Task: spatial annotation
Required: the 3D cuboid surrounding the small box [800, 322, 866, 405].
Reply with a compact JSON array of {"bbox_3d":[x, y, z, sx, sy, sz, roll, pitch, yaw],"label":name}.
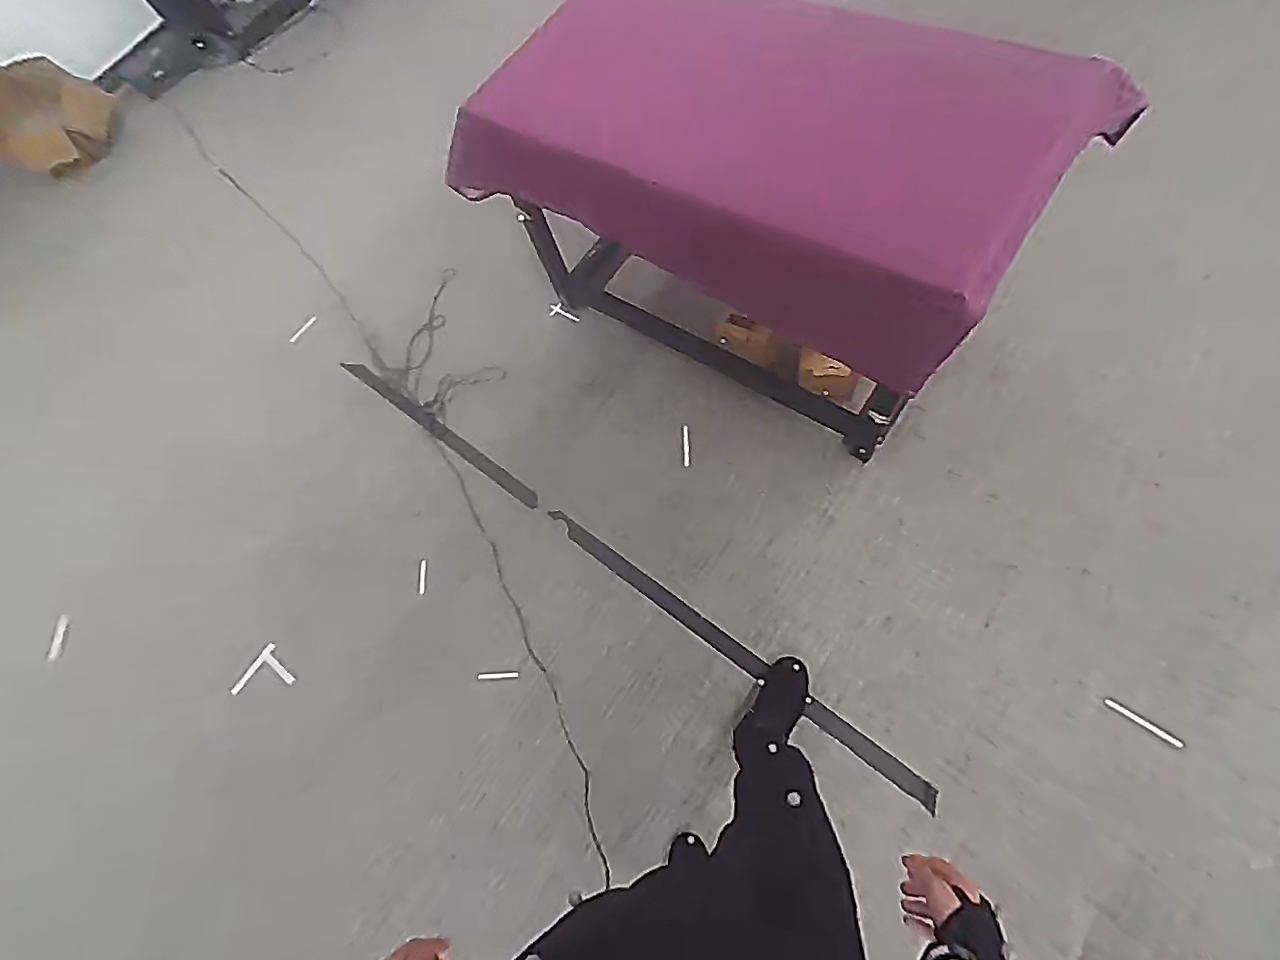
[{"bbox_3d":[0.563,-0.343,1.592,0.168,0.176,0.179,3,68,13],"label":"small box"}]
